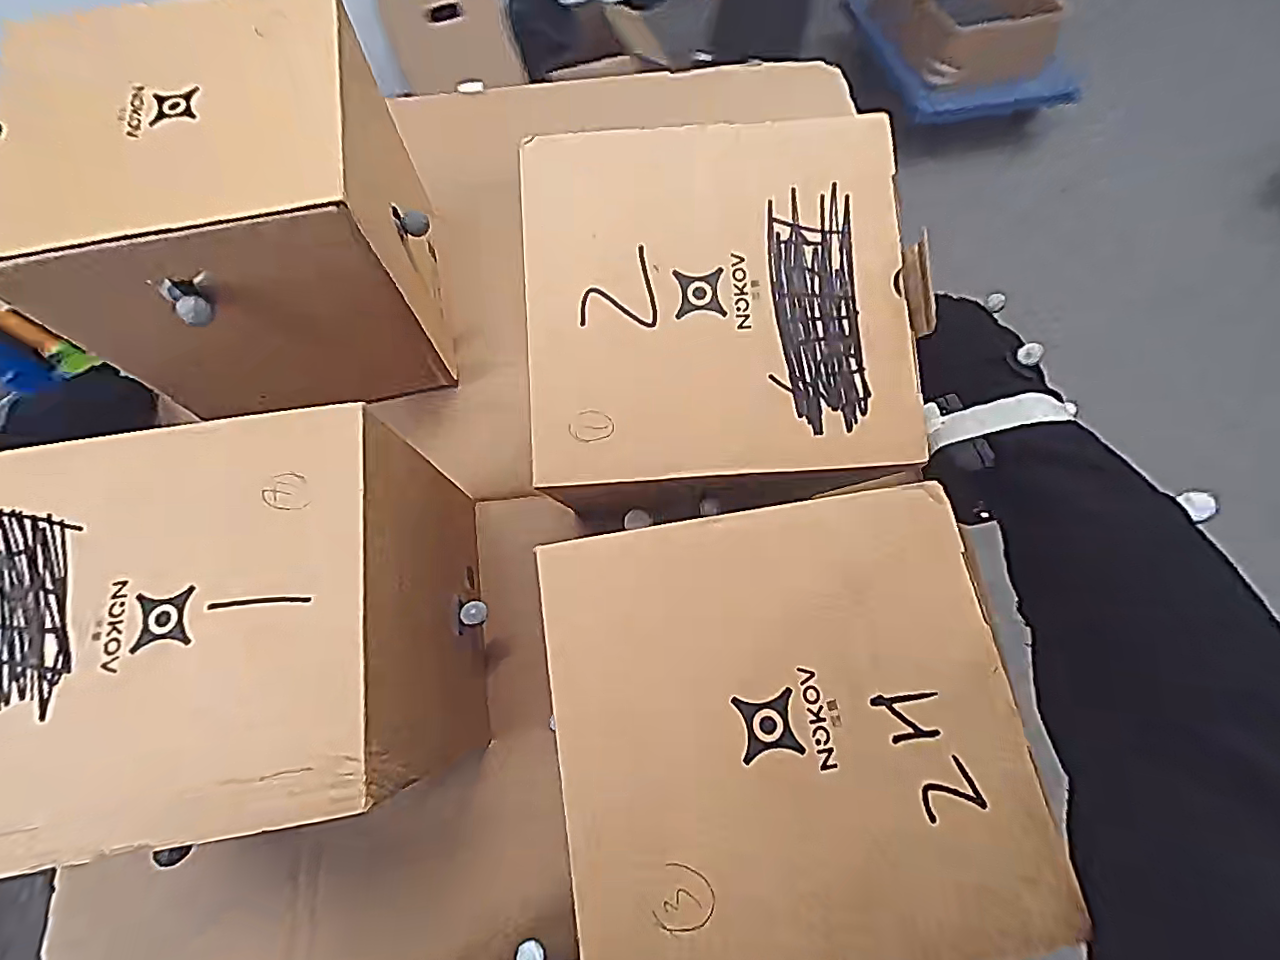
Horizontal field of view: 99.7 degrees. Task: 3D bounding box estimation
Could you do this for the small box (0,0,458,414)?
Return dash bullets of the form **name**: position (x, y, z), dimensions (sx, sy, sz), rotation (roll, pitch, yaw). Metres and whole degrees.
- **small box**: position (-0.230, -0.161, 0.354), dimensions (0.179, 0.176, 0.168), rotation (-11, 71, -2)
